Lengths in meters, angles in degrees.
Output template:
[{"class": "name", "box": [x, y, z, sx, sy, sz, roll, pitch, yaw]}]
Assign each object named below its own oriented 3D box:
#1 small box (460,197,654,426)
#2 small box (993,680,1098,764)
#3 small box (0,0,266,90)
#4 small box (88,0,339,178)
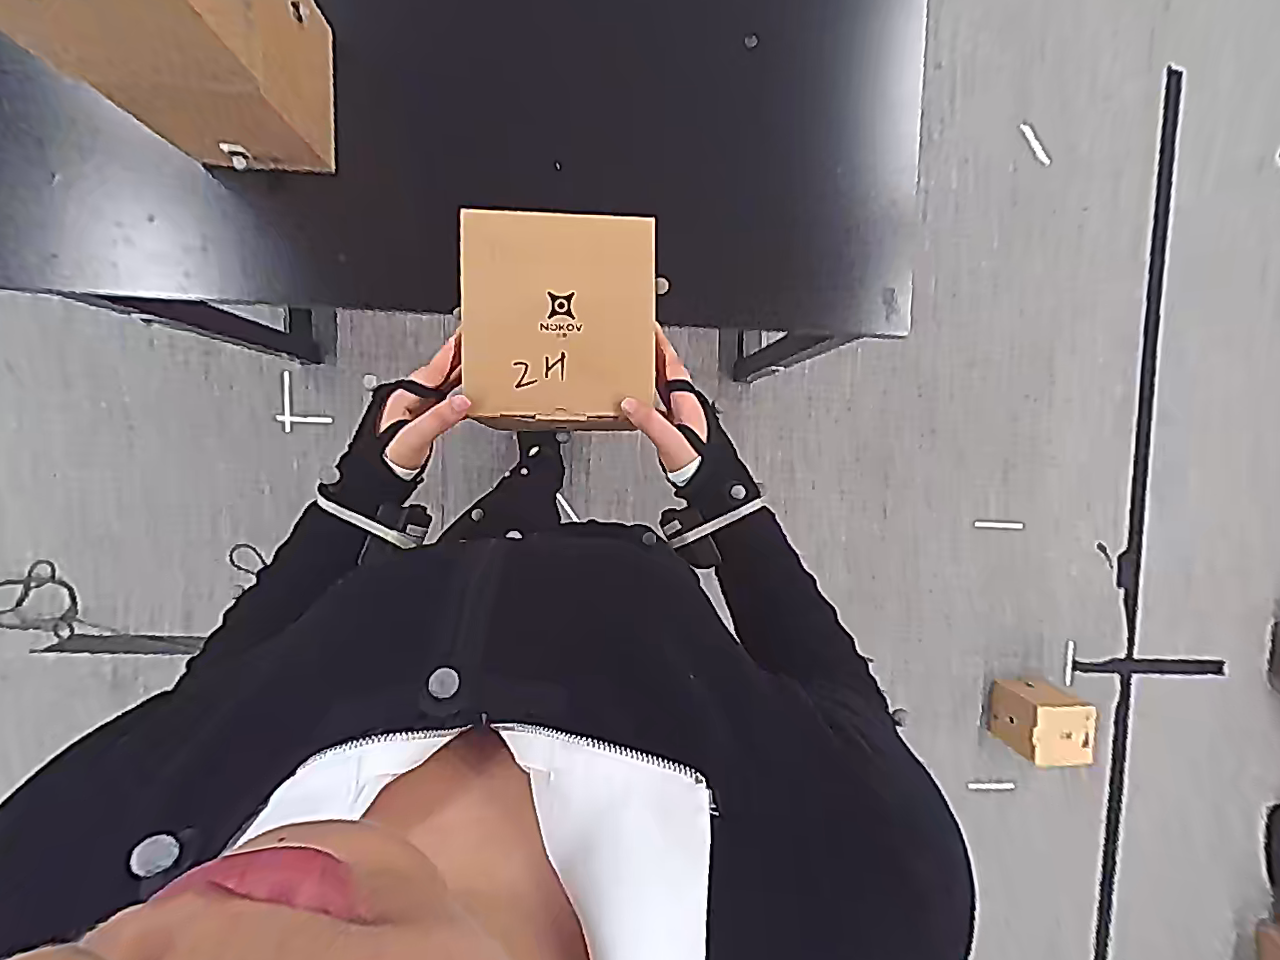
[{"class": "small box", "box": [-0.078, -0.151, 0.541, 0.168, 0.176, 0.179, 0, 91, -5]}, {"class": "small box", "box": [1.152, 0.688, 1.550, 0.179, 0.176, 0.168, 2, 93, -4]}, {"class": "small box", "box": [-0.446, -0.455, 0.439, 0.179, 0.176, 0.168, -2, 93, -5]}, {"class": "small box", "box": [-0.458, -0.470, 0.603, 0.168, 0.176, 0.179, 0, 94, -4]}]
